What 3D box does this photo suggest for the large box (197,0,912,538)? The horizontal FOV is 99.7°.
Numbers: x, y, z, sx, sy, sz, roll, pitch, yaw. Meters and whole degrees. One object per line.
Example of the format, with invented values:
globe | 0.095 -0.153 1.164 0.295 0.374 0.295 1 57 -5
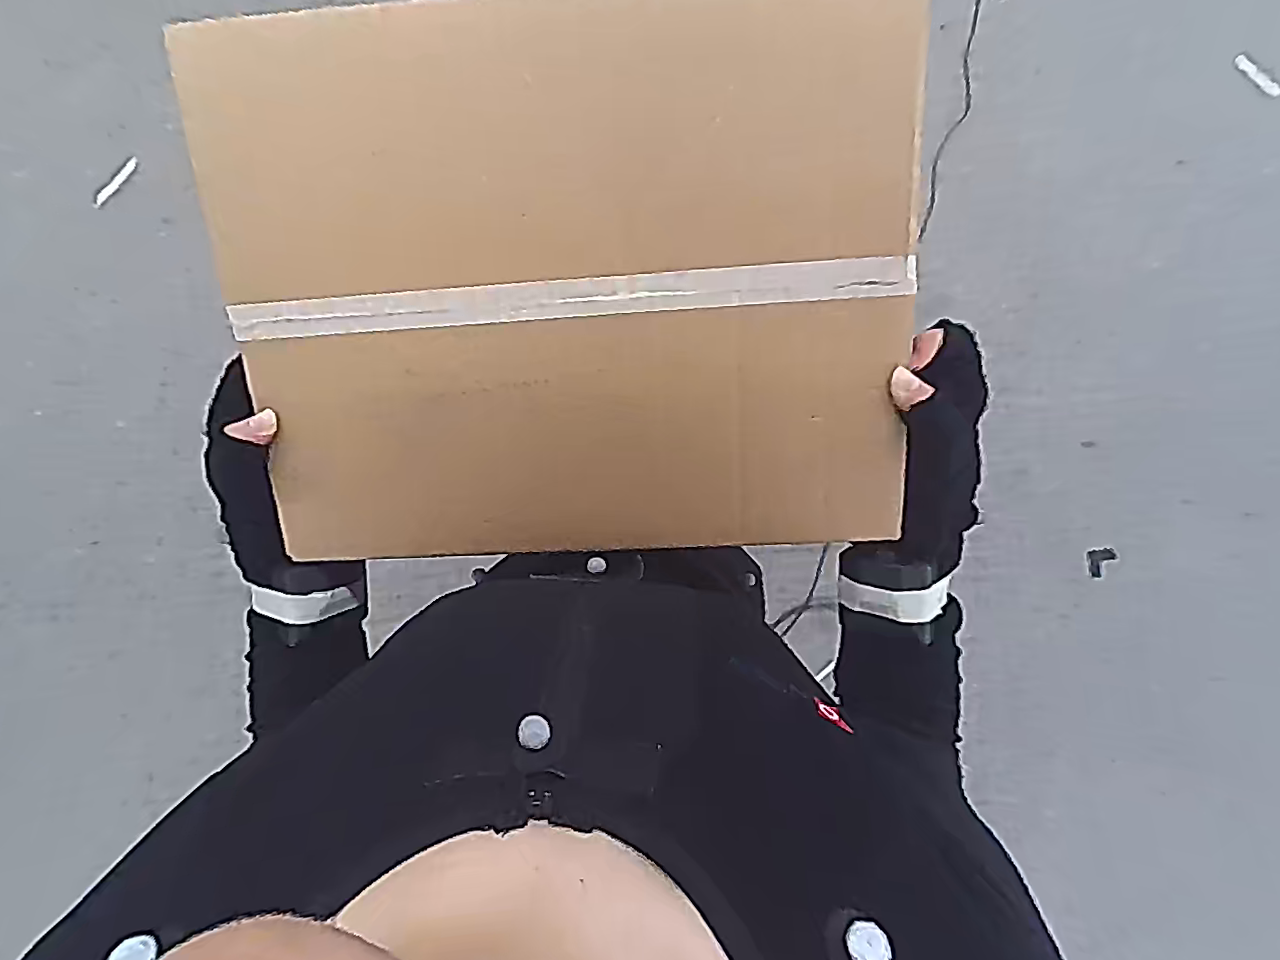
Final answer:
large box | -0.040 -0.154 0.471 0.408 0.320 0.320 -3 105 3
